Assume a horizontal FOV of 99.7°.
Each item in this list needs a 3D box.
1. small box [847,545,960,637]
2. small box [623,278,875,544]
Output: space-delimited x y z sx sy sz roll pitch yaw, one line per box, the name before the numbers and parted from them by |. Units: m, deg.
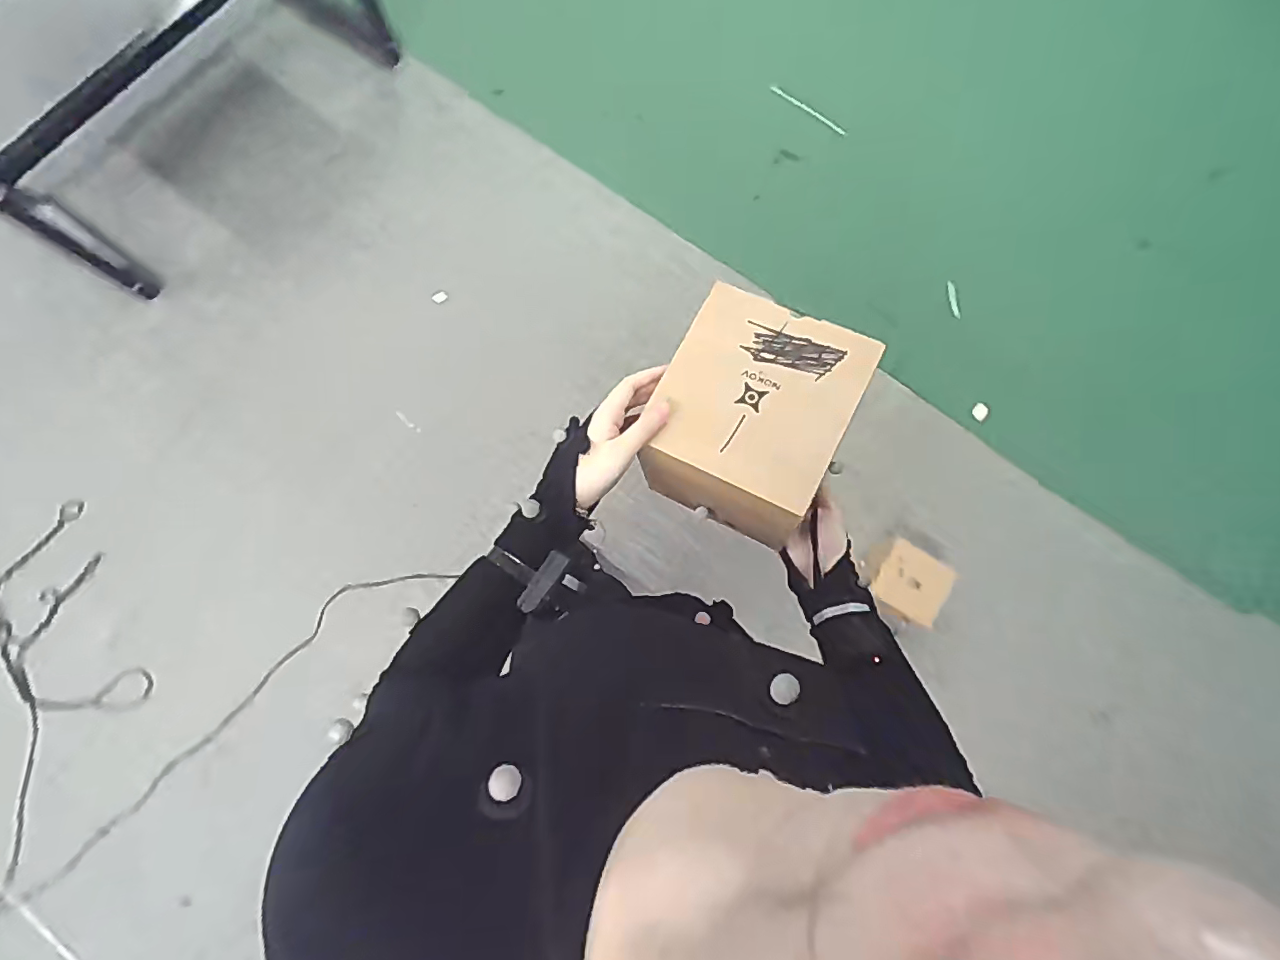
small box | 0.683 0.288 1.422 0.179 0.176 0.168 33 79 6
small box | 0.102 -0.058 0.540 0.168 0.176 0.179 25 78 14
